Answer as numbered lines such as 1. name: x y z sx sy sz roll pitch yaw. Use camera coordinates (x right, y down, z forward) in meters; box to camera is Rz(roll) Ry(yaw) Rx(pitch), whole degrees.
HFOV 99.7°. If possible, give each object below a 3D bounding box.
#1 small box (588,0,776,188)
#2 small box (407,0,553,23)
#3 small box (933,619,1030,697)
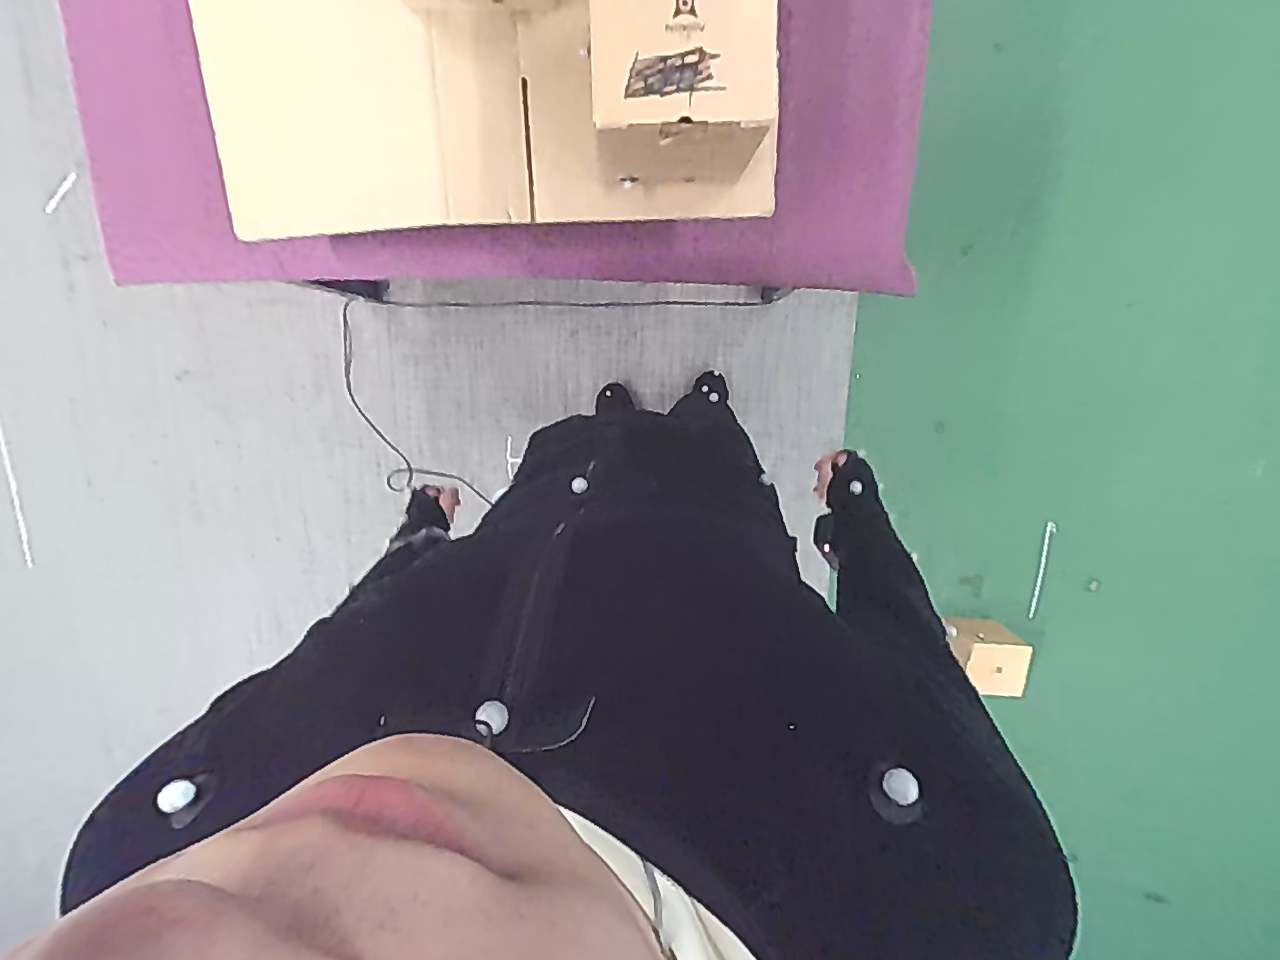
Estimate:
1. small box: 0.035 -0.413 0.551 0.168 0.176 0.179 -2 101 -2
2. small box: -0.174 -0.583 0.506 0.168 0.176 0.179 -1 102 -3
3. small box: 1.037 0.539 1.653 0.179 0.176 0.168 3 102 0
